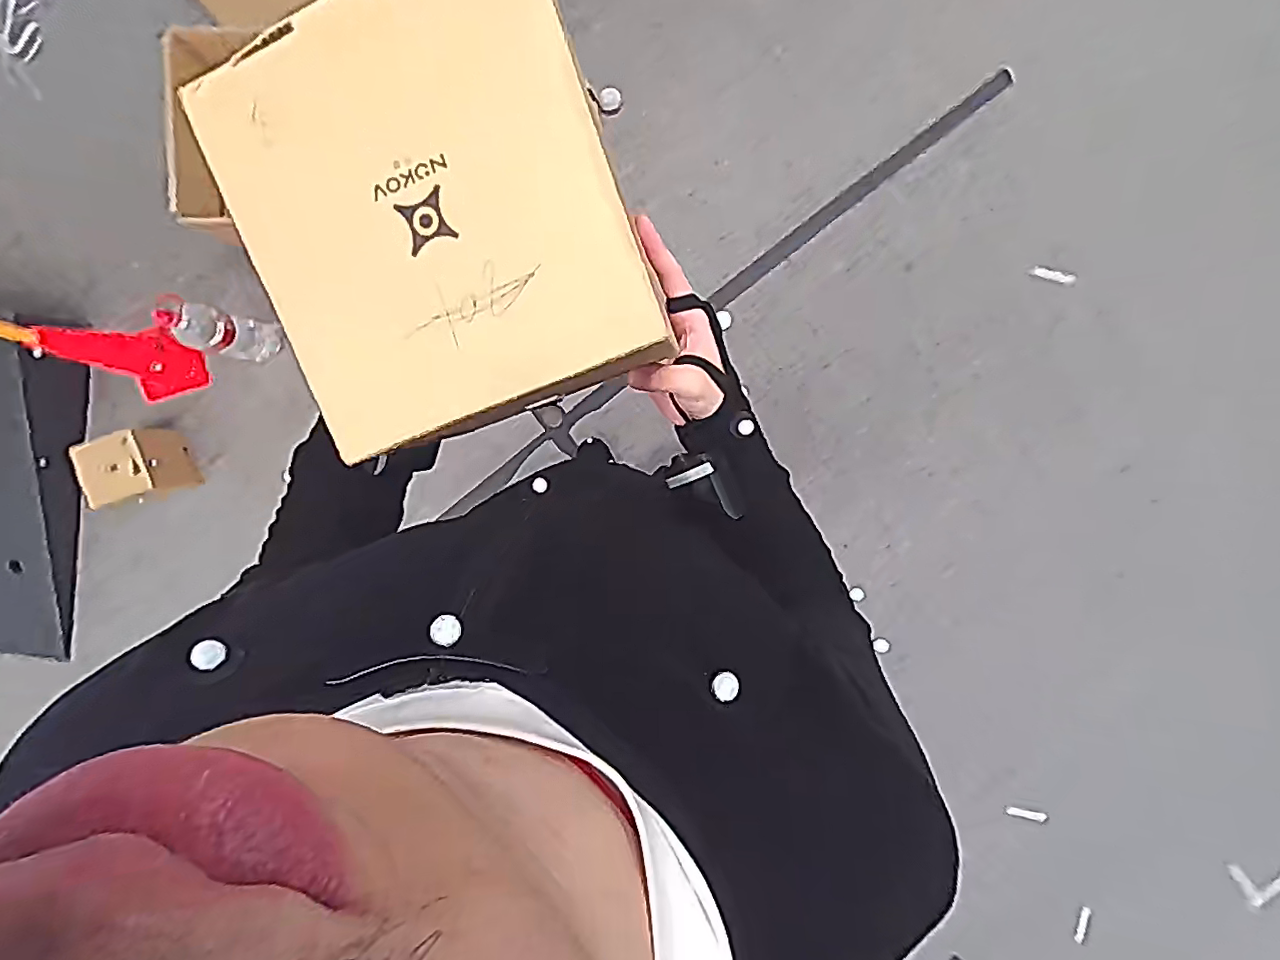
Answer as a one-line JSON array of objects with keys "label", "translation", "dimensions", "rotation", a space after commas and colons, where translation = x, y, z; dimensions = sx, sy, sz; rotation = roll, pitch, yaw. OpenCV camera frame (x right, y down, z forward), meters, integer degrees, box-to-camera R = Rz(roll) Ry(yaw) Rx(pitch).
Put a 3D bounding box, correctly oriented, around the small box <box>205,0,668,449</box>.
[{"label": "small box", "translation": [-0.087, -0.132, 0.324], "dimensions": [0.168, 0.176, 0.179], "rotation": [-18, 99, 9]}]
